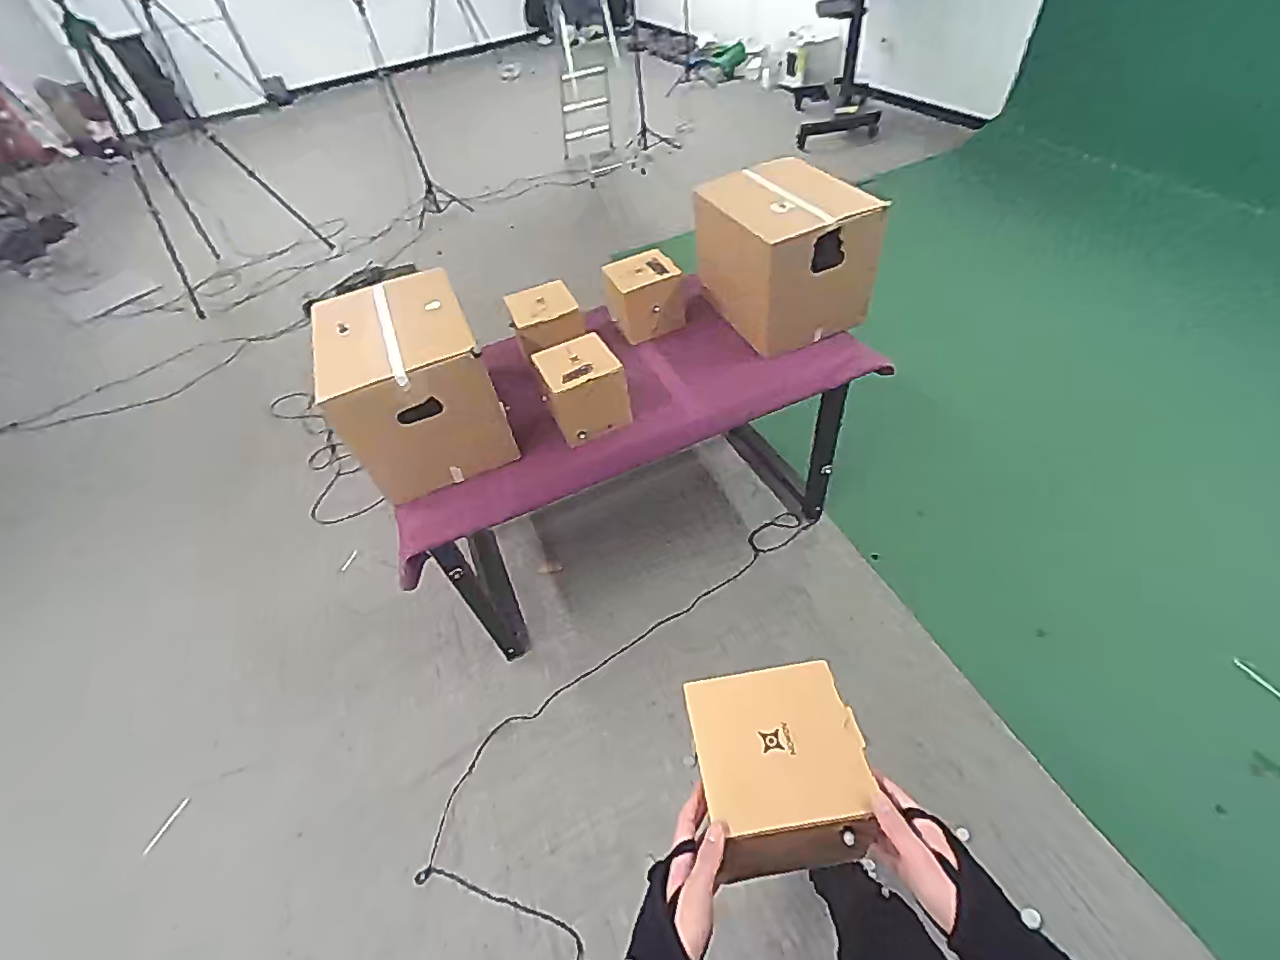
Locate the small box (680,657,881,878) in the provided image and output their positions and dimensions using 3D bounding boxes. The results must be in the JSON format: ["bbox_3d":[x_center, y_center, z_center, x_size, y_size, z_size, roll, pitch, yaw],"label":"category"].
[{"bbox_3d":[0.151,0.337,0.633,0.179,0.176,0.168,-10,41,-2],"label":"small box"}]

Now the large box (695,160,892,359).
[{"bbox_3d":[0.375,-0.591,1.438,0.320,0.320,0.408,-22,50,-9],"label":"large box"}]
